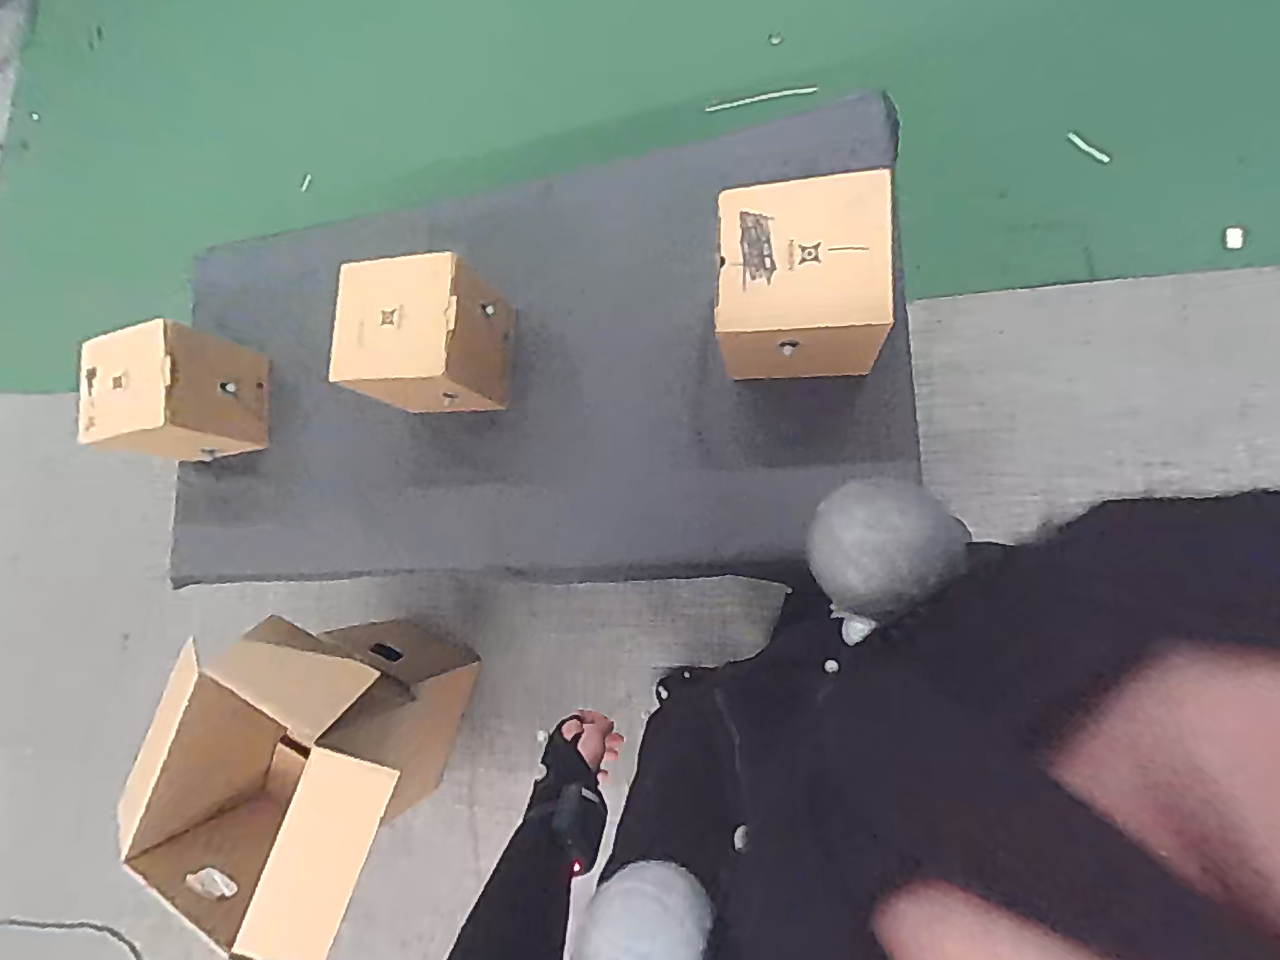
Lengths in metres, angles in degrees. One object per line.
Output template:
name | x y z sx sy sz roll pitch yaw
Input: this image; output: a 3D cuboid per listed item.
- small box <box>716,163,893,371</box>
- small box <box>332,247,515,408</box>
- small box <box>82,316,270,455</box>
small box | 0.189 -0.232 0.636 0.179 0.176 0.168 1 84 15
small box | -0.294 -0.203 0.768 0.179 0.176 0.168 0 82 16
small box | -0.739 -0.142 0.878 0.179 0.176 0.168 -8 81 13
